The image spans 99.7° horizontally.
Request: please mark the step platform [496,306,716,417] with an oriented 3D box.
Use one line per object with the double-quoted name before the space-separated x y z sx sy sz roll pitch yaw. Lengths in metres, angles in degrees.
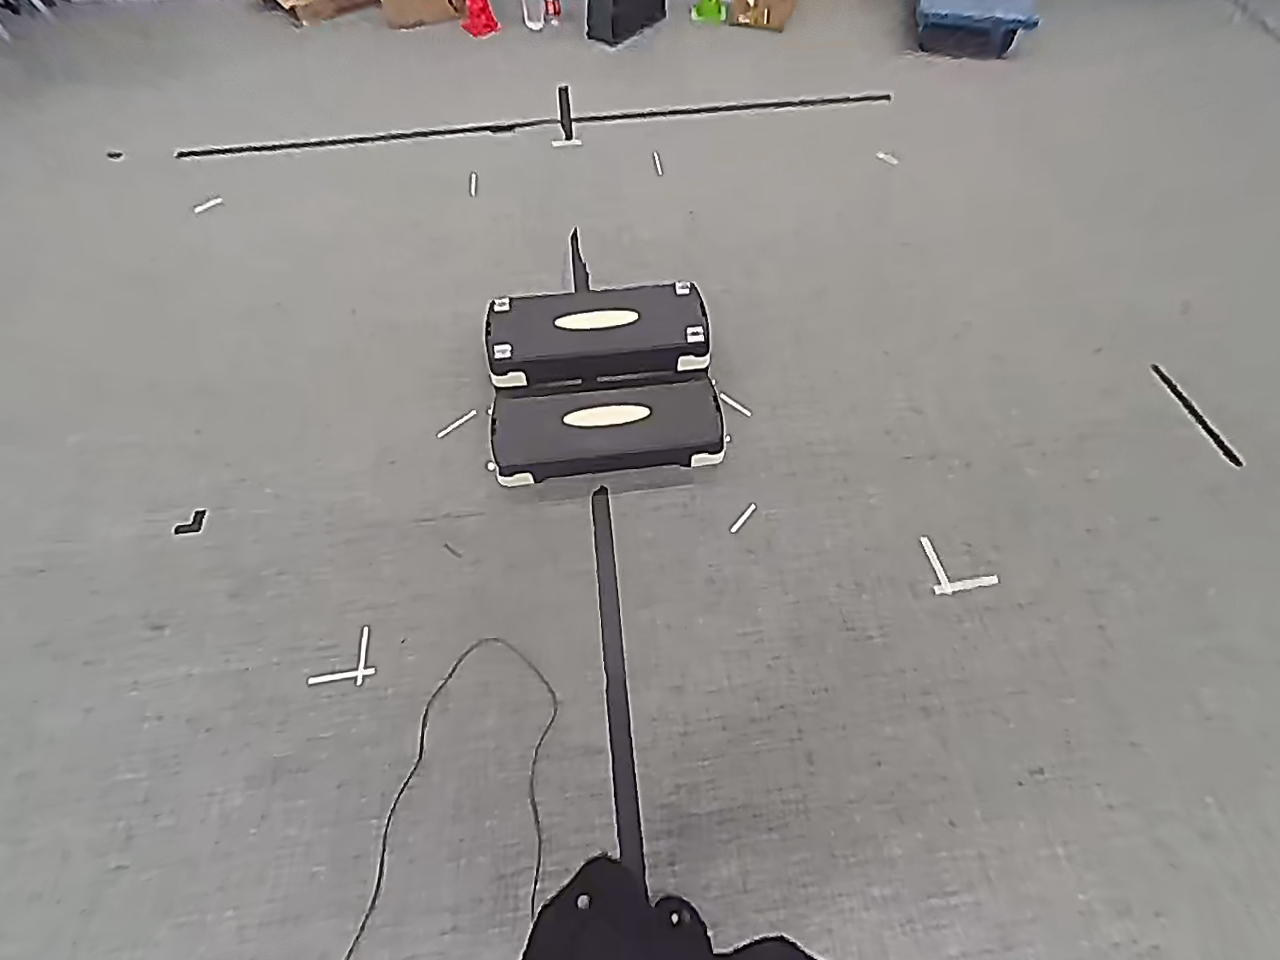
"step platform" -0.104 -0.382 1.712 0.684 0.204 0.286 -3 58 -2
